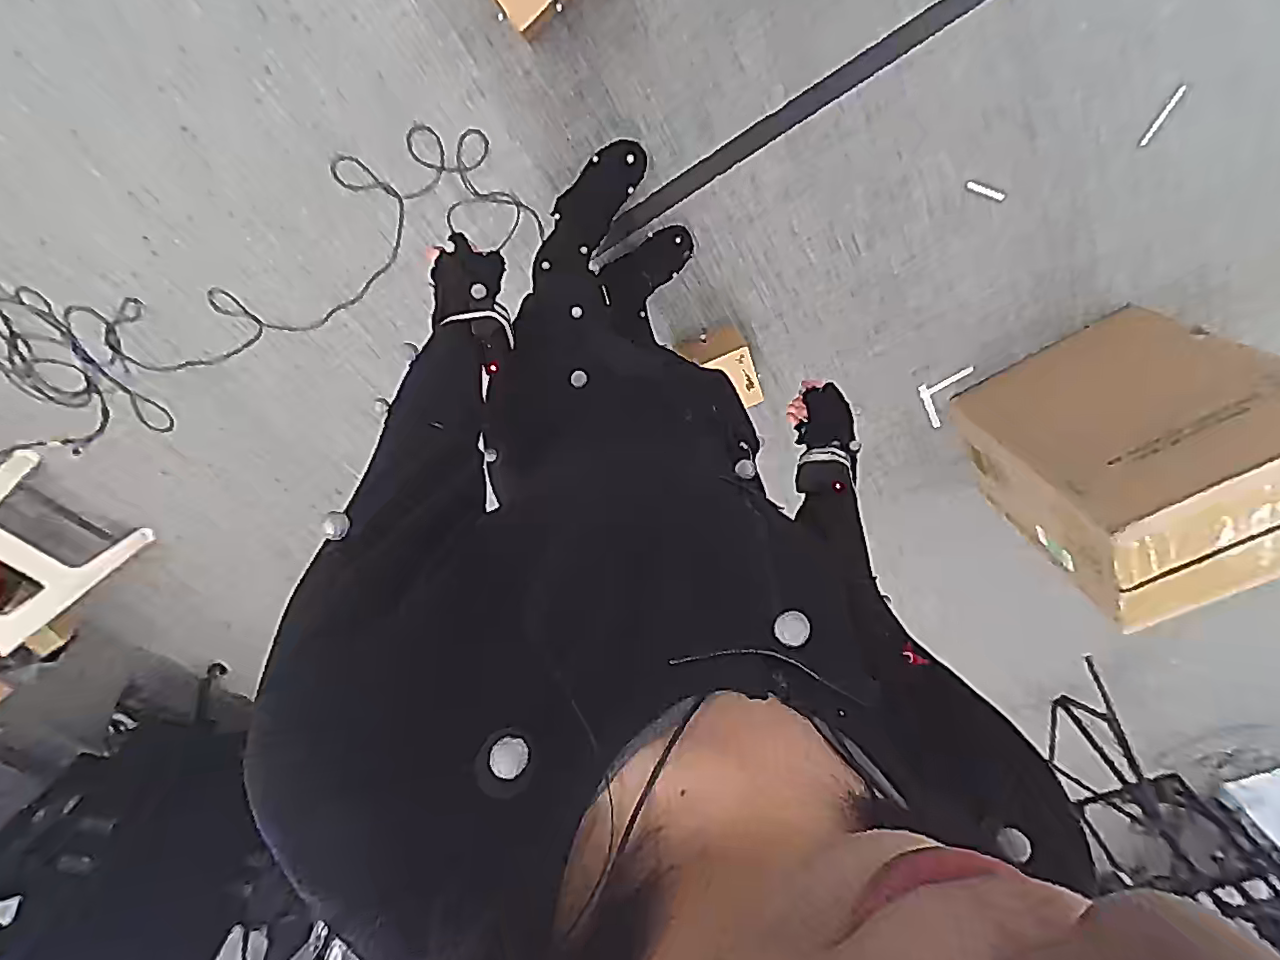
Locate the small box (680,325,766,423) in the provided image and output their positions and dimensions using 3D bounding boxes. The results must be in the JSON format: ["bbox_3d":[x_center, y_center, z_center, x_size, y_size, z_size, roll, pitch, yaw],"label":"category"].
[{"bbox_3d":[0.213,-0.283,1.425,0.179,0.176,0.168,-20,124,10],"label":"small box"}]

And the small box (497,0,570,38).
[{"bbox_3d":[-0.192,-0.920,0.944,0.179,0.176,0.168,-35,122,17],"label":"small box"}]
